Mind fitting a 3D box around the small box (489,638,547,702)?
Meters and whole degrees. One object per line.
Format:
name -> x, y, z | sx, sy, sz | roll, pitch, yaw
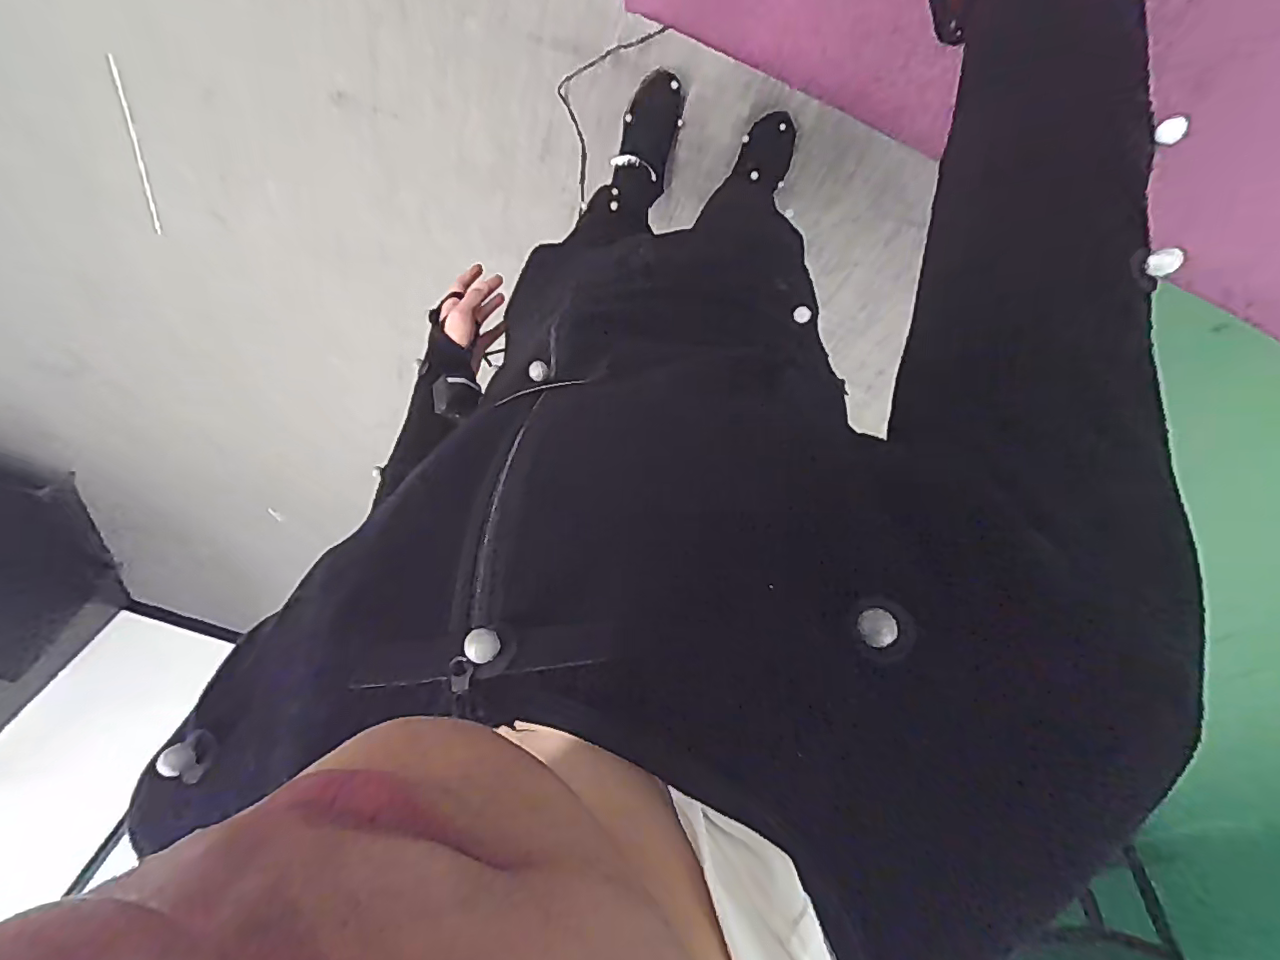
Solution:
small box -> -0.489, 0.768, 2.194 | 0.168, 0.176, 0.179 | 25, 131, -12
